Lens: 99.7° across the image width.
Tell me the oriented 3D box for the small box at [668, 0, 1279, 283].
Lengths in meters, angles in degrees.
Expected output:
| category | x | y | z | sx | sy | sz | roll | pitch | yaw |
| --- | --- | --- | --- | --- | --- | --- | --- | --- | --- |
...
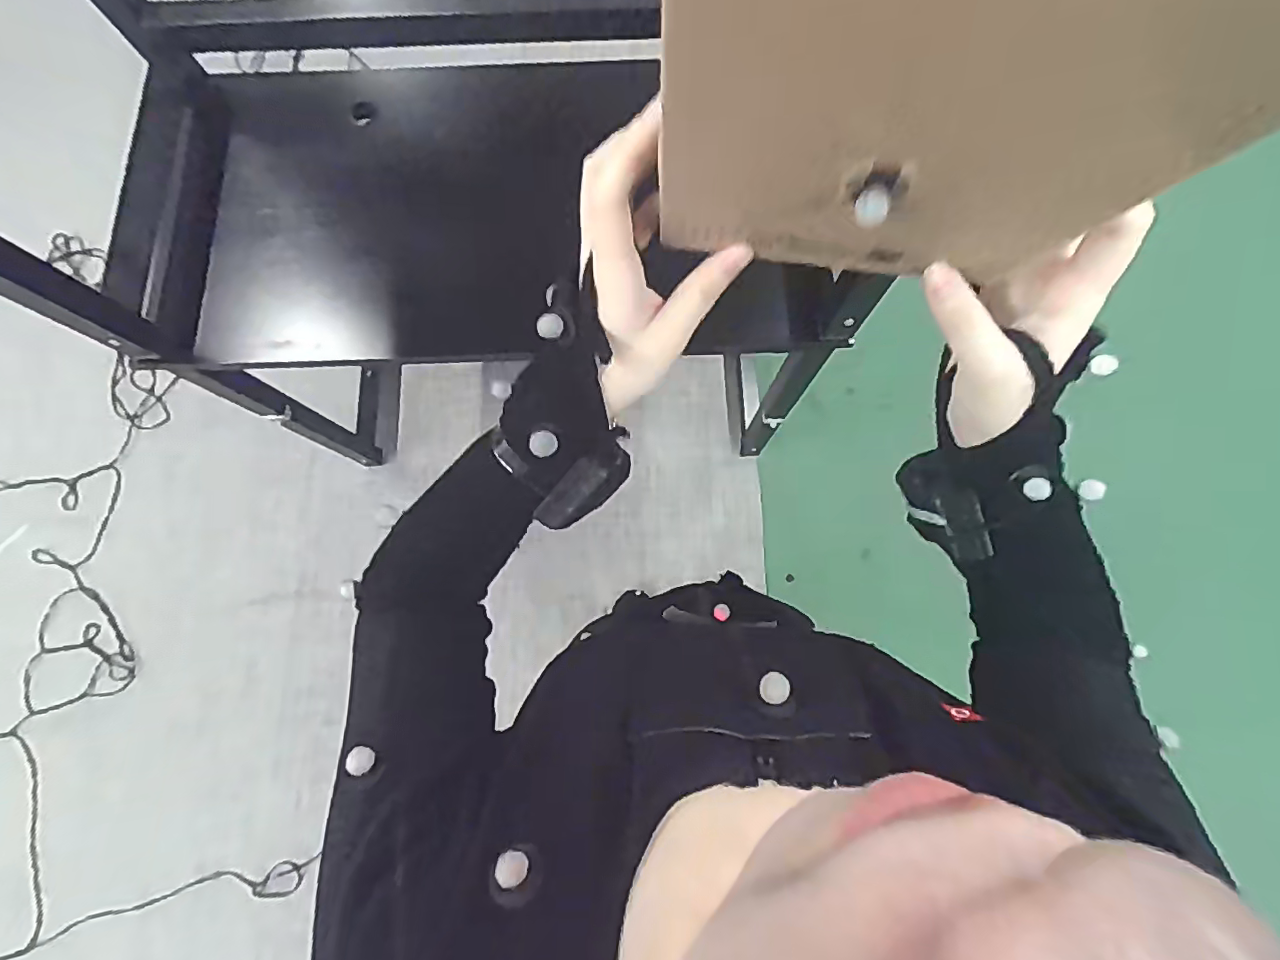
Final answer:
| category | x | y | z | sx | sy | sz | roll | pitch | yaw |
| --- | --- | --- | --- | --- | --- | --- | --- | --- | --- |
| small box | 0.102 | -0.184 | 0.187 | 0.168 | 0.176 | 0.179 | 8 | 94 | 1 |
